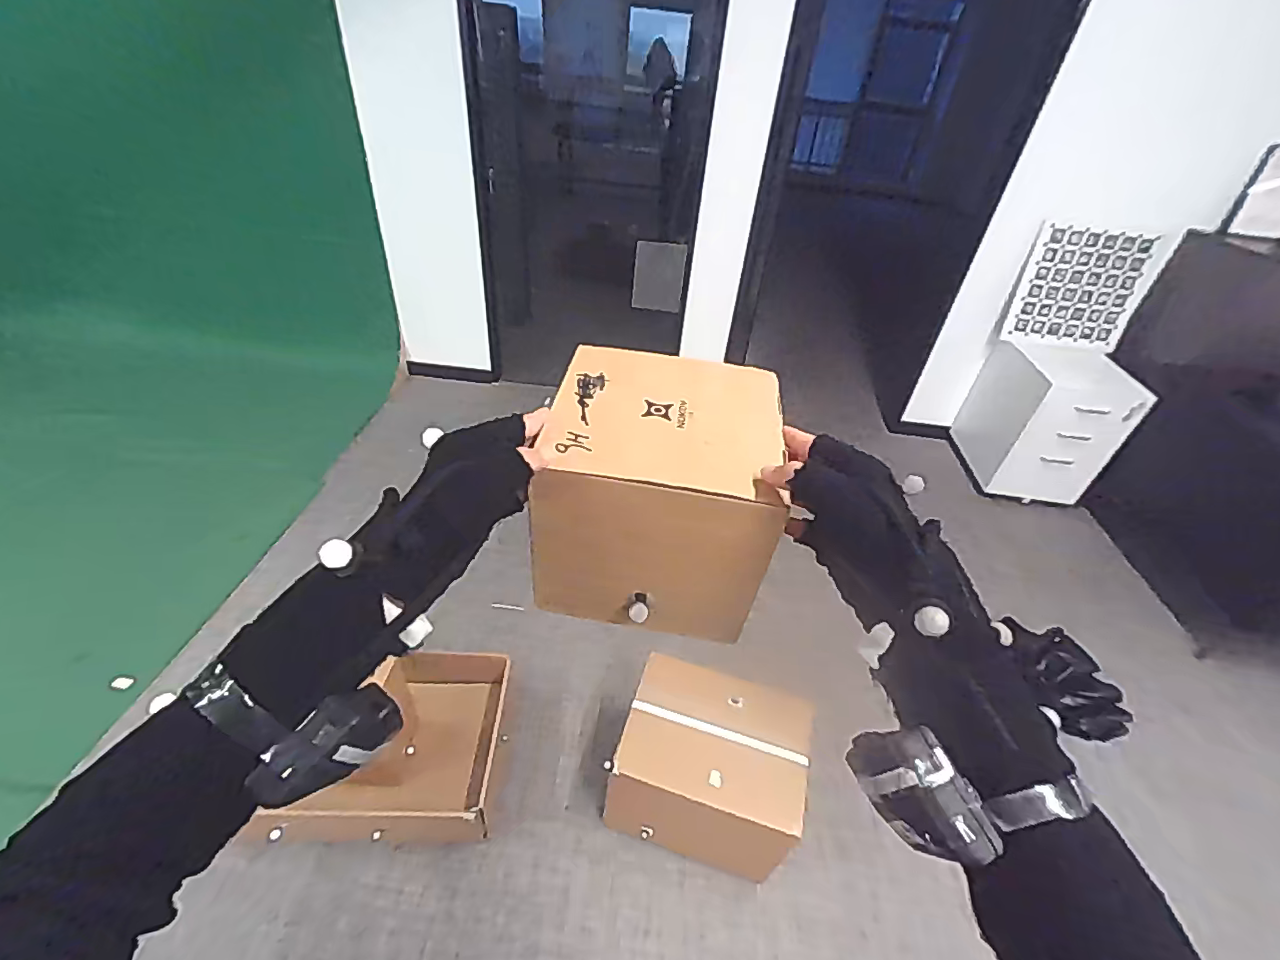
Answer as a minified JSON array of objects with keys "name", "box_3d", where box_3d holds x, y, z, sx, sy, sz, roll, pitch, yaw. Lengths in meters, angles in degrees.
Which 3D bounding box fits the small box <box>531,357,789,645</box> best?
[{"name":"small box","box_3d":[0.014,0.020,0.466,0.179,0.176,0.168,10,41,2]}]

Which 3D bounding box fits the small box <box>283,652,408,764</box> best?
[{"name":"small box","box_3d":[-0.643,0.511,1.207,0.179,0.176,0.168,7,38,-2]}]

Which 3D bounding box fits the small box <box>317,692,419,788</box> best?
[{"name":"small box","box_3d":[-0.660,0.632,1.319,0.179,0.176,0.168,5,39,-4]}]
